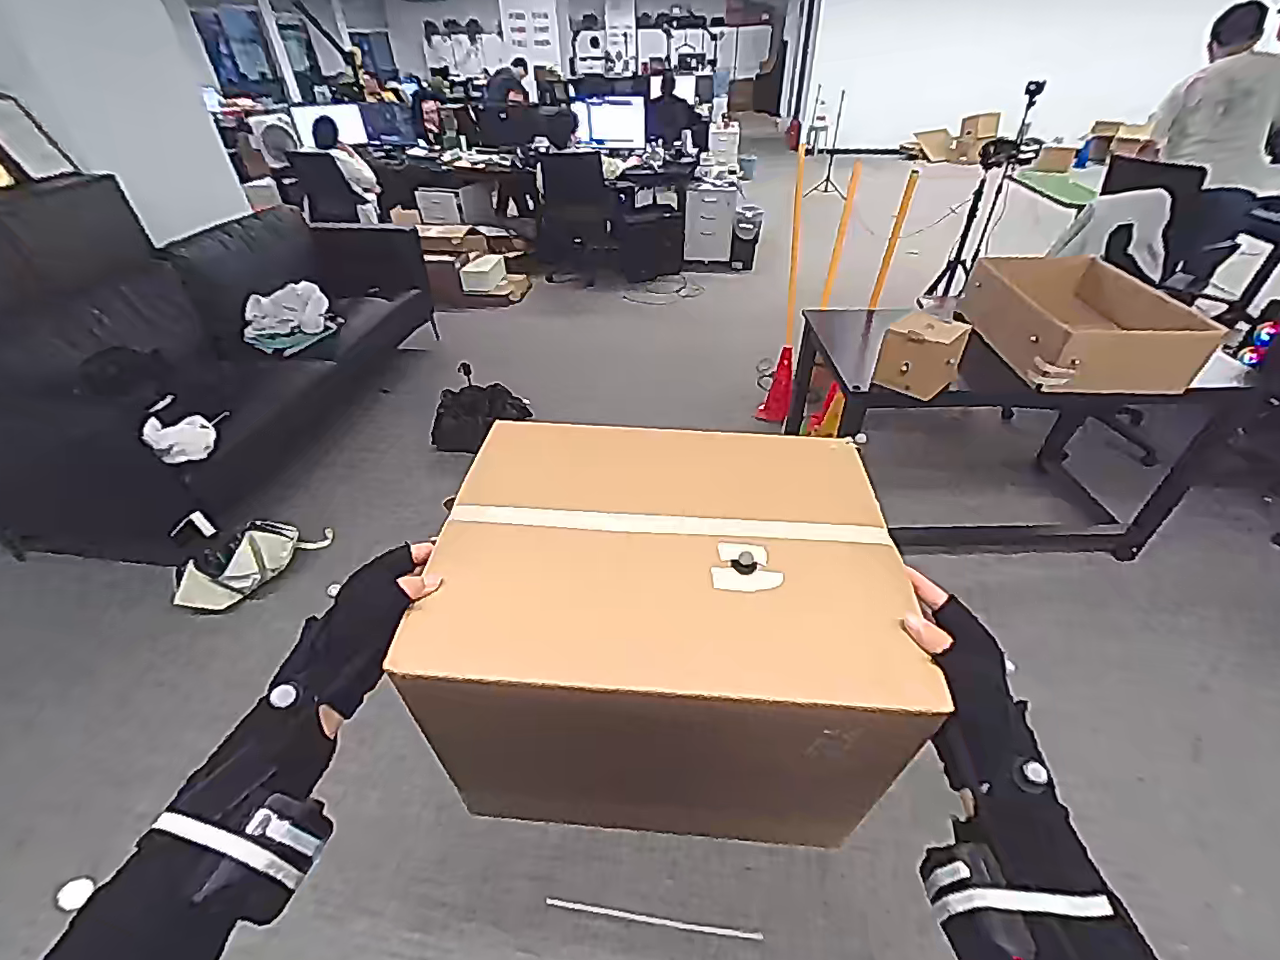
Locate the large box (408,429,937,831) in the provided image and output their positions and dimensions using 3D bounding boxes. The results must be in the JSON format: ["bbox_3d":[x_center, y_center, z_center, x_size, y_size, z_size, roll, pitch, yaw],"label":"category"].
[{"bbox_3d":[0.024,0.162,0.607,0.408,0.320,0.320,4,42,2],"label":"large box"}]
